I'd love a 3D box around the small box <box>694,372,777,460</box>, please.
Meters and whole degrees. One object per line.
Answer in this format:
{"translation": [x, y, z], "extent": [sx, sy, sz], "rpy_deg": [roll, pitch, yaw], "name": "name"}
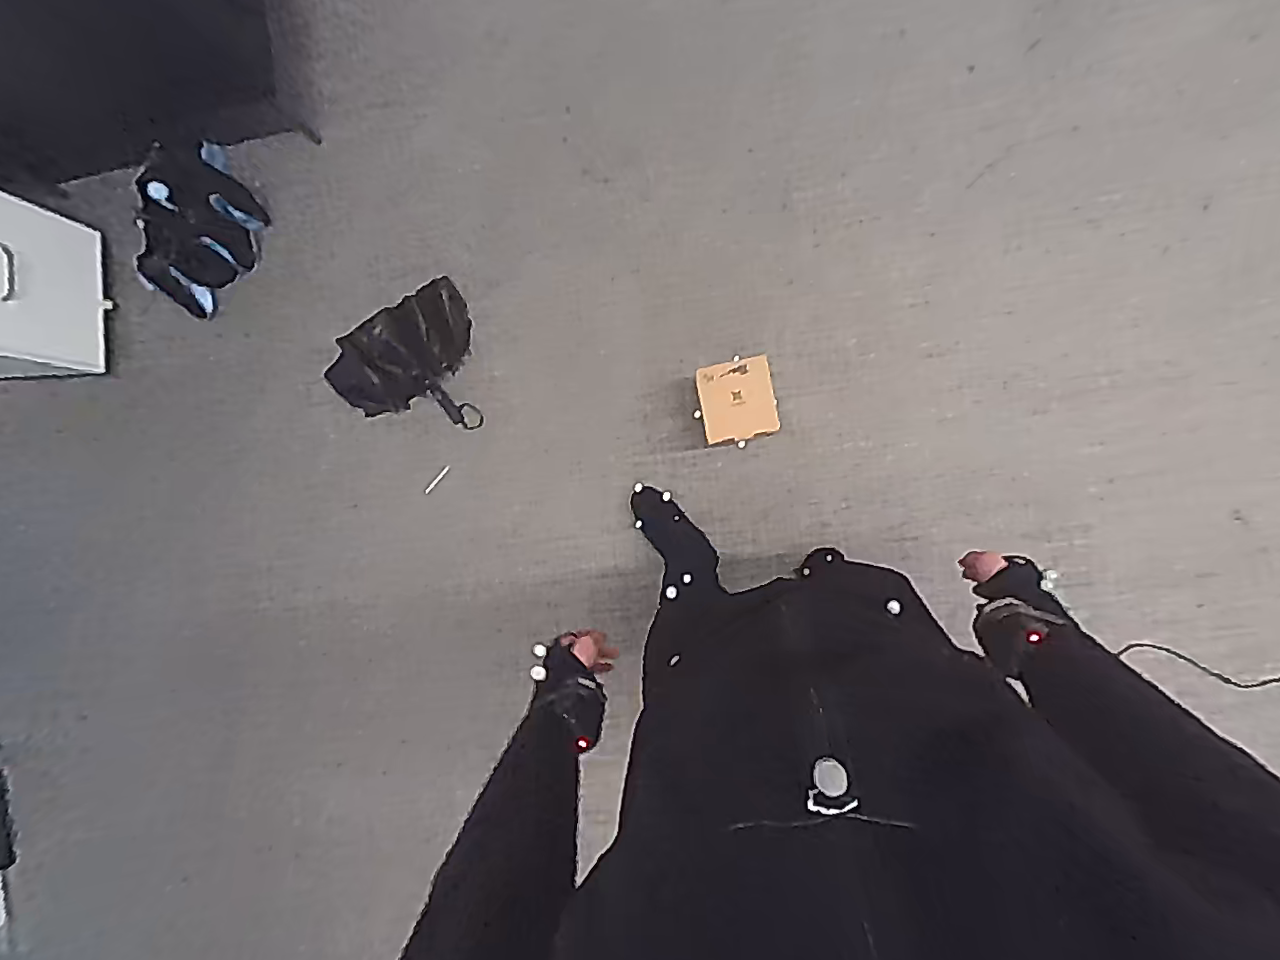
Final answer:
{"translation": [0.228, -0.148, 1.315], "extent": [0.168, 0.176, 0.179], "rpy_deg": [-11, 89, 6], "name": "small box"}
